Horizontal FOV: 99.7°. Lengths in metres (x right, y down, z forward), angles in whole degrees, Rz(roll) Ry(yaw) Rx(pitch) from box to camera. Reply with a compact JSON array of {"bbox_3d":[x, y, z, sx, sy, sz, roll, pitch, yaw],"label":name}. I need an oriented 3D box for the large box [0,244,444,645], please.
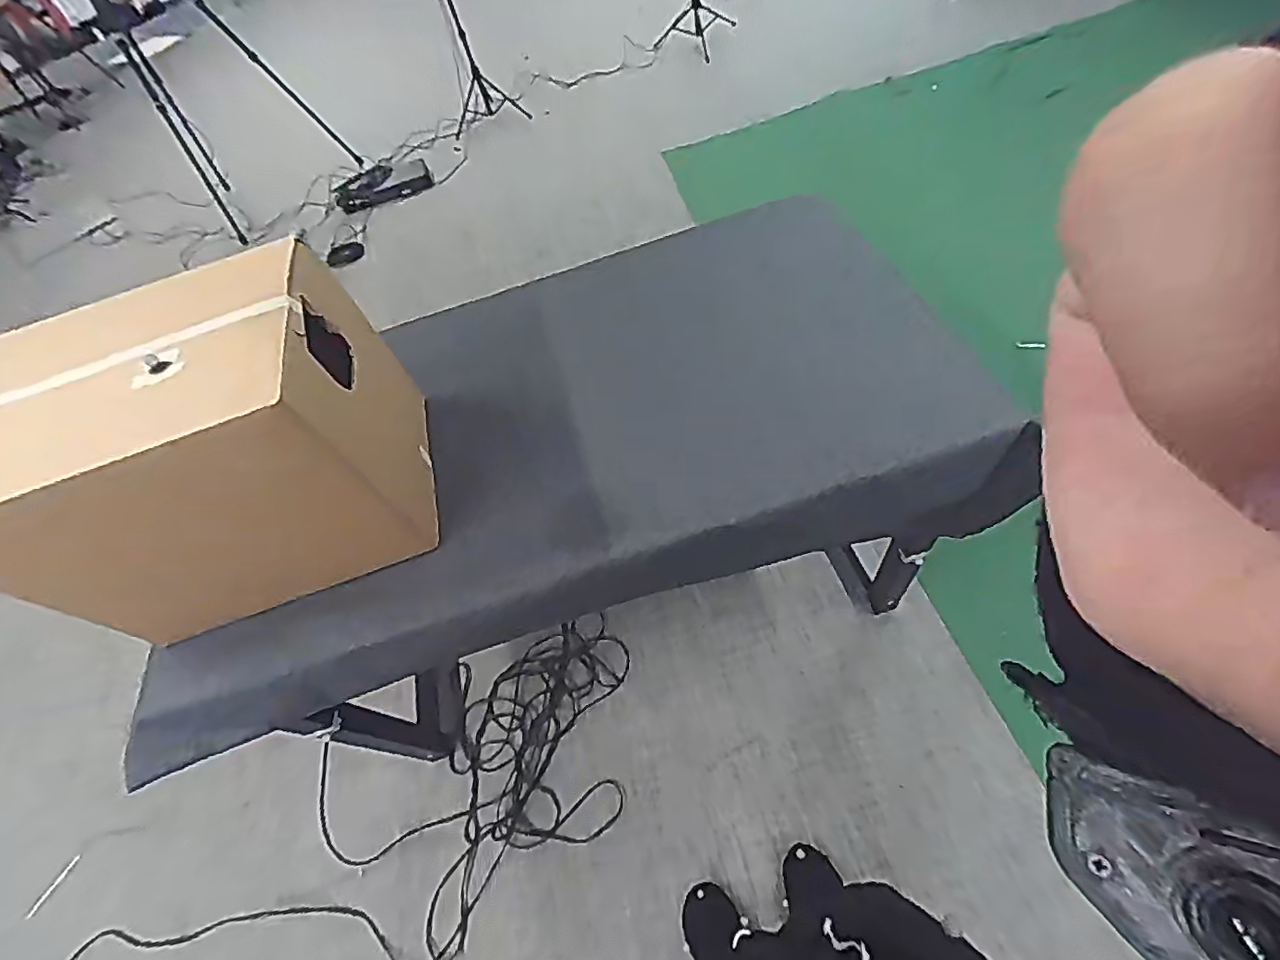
[{"bbox_3d":[-0.526,-0.036,0.710,0.408,0.320,0.320,-20,55,-3],"label":"large box"}]
